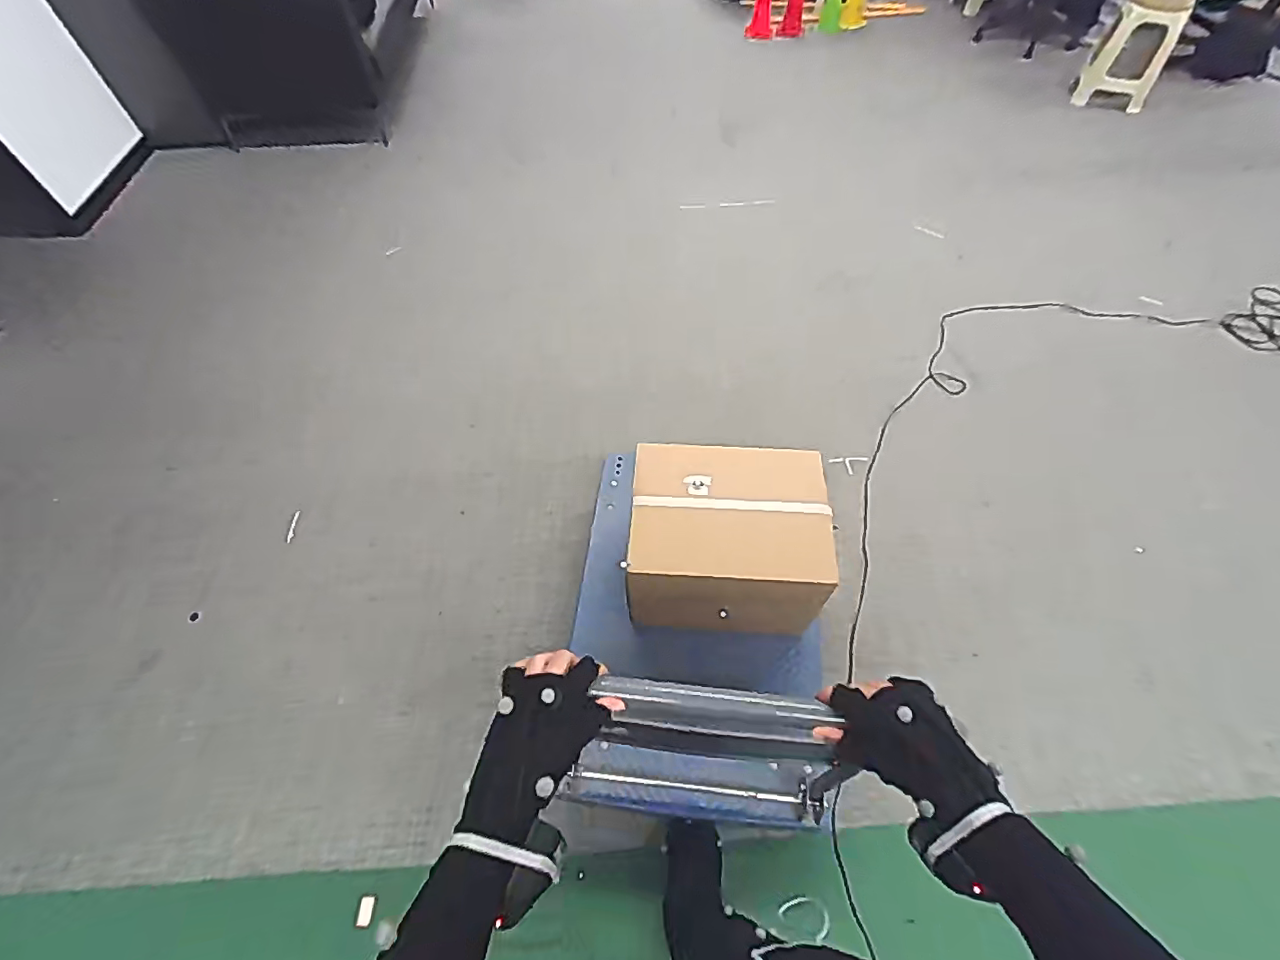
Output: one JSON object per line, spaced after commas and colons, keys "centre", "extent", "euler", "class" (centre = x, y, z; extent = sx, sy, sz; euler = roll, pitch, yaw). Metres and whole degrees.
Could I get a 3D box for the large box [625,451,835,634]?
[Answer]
{"centre": [0.187, 0.148, 1.234], "extent": [0.408, 0.320, 0.320], "euler": [2, 55, 5], "class": "large box"}
